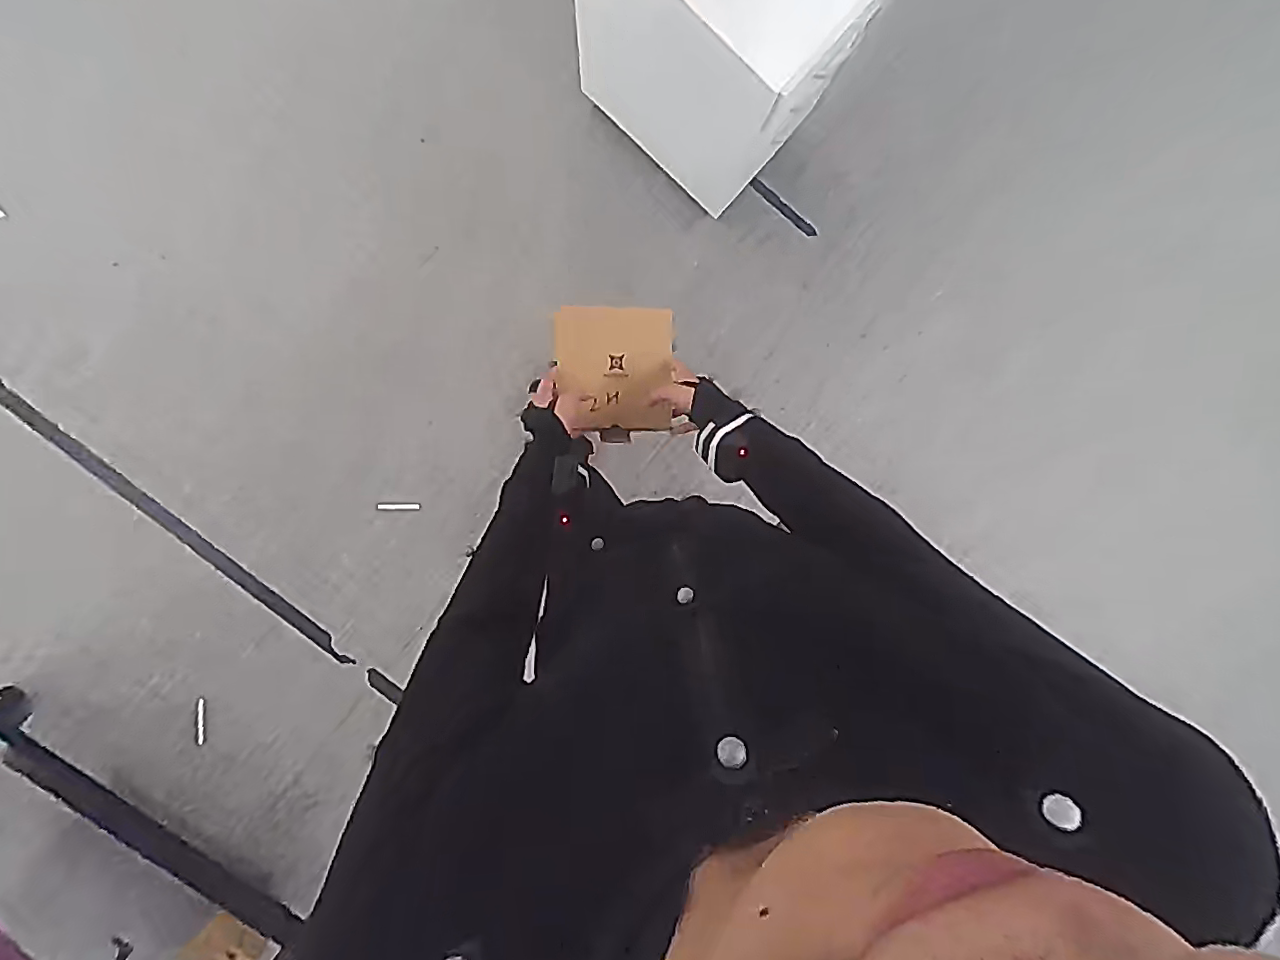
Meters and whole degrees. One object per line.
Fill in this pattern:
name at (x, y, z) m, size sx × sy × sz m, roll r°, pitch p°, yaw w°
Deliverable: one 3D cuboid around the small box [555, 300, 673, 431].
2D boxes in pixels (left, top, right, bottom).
small box at (-0.048, -0.168, 0.844) m, size 0.168 × 0.176 × 0.179 m, roll 0°, pitch 95°, yaw -9°
